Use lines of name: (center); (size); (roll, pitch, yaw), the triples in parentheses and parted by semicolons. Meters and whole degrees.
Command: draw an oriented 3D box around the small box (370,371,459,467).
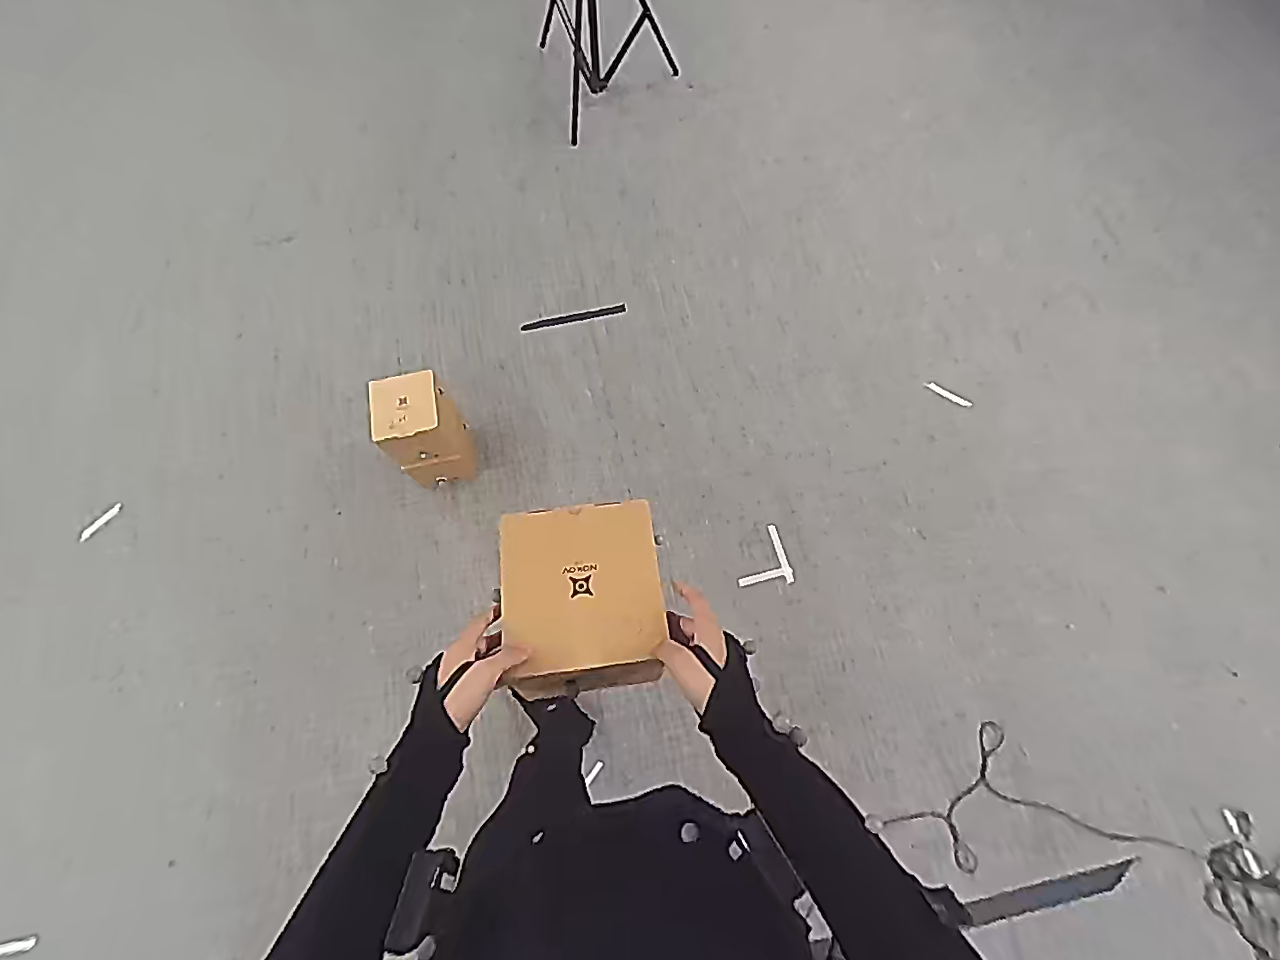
small box: (-0.587, -0.156, 1.418); (0.168, 0.176, 0.179); (-12, 71, -3)

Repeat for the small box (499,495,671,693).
small box: (-0.061, 0.137, 0.614); (0.168, 0.176, 0.179); (-6, 62, -6)

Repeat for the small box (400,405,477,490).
small box: (-0.585, -0.091, 1.569); (0.168, 0.176, 0.179); (-12, 70, -3)
